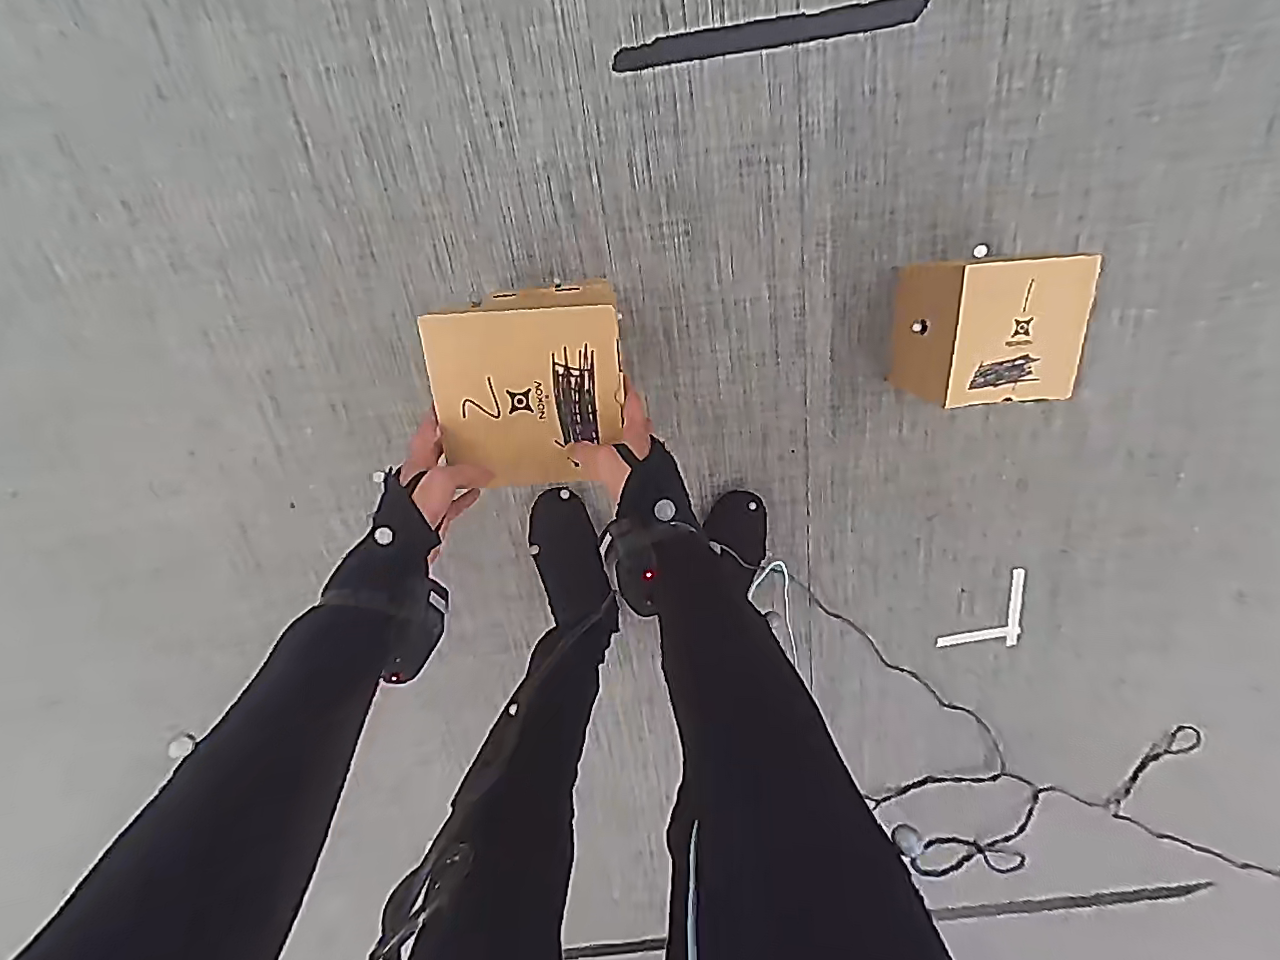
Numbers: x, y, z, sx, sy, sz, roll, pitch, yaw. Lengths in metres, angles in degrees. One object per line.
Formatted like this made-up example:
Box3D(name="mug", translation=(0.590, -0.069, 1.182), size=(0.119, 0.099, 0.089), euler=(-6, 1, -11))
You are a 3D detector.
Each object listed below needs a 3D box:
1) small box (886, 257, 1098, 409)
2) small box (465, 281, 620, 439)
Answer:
Box3D(name="small box", translation=(0.456, -0.205, 0.734), size=(0.168, 0.176, 0.179), euler=(-4, 111, -1))
Box3D(name="small box", translation=(-0.117, -0.169, 0.732), size=(0.168, 0.176, 0.179), euler=(-5, 111, 1))
